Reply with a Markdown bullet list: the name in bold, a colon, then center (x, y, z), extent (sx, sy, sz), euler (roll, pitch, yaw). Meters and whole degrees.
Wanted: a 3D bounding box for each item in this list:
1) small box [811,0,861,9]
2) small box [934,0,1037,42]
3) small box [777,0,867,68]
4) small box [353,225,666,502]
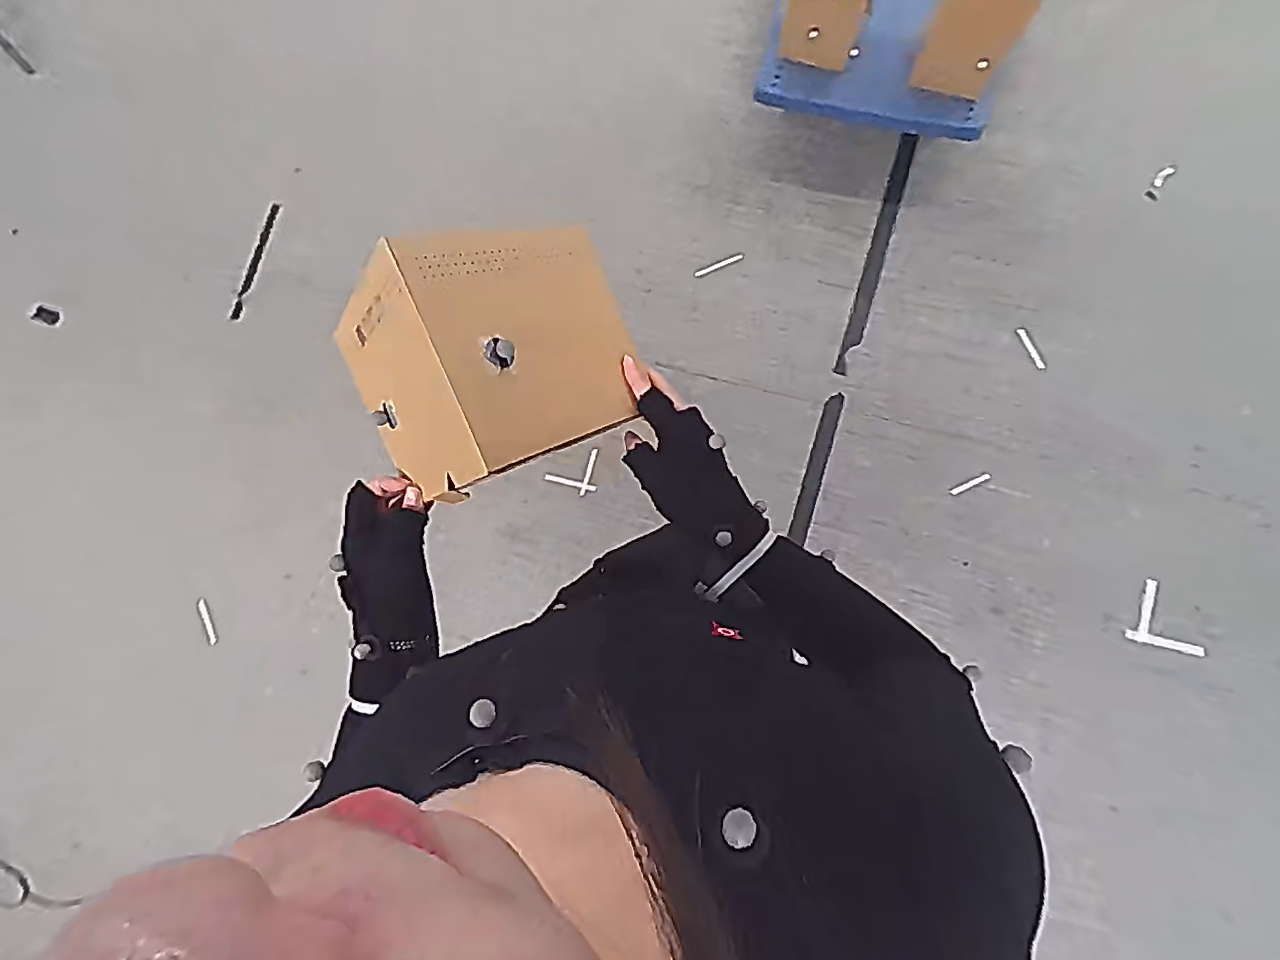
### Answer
- **small box**: center (0.423, -1.154, 1.132), extent (0.168, 0.176, 0.179), euler (17, 86, 8)
- **small box**: center (0.731, -1.039, 1.090), extent (0.179, 0.176, 0.168), euler (21, 88, 7)
- **small box**: center (0.445, -1.137, 1.294), extent (0.179, 0.176, 0.168), euler (20, 87, 8)
- **small box**: center (-0.115, -0.099, 0.466), extent (0.179, 0.168, 0.176), euler (-27, 98, -40)
